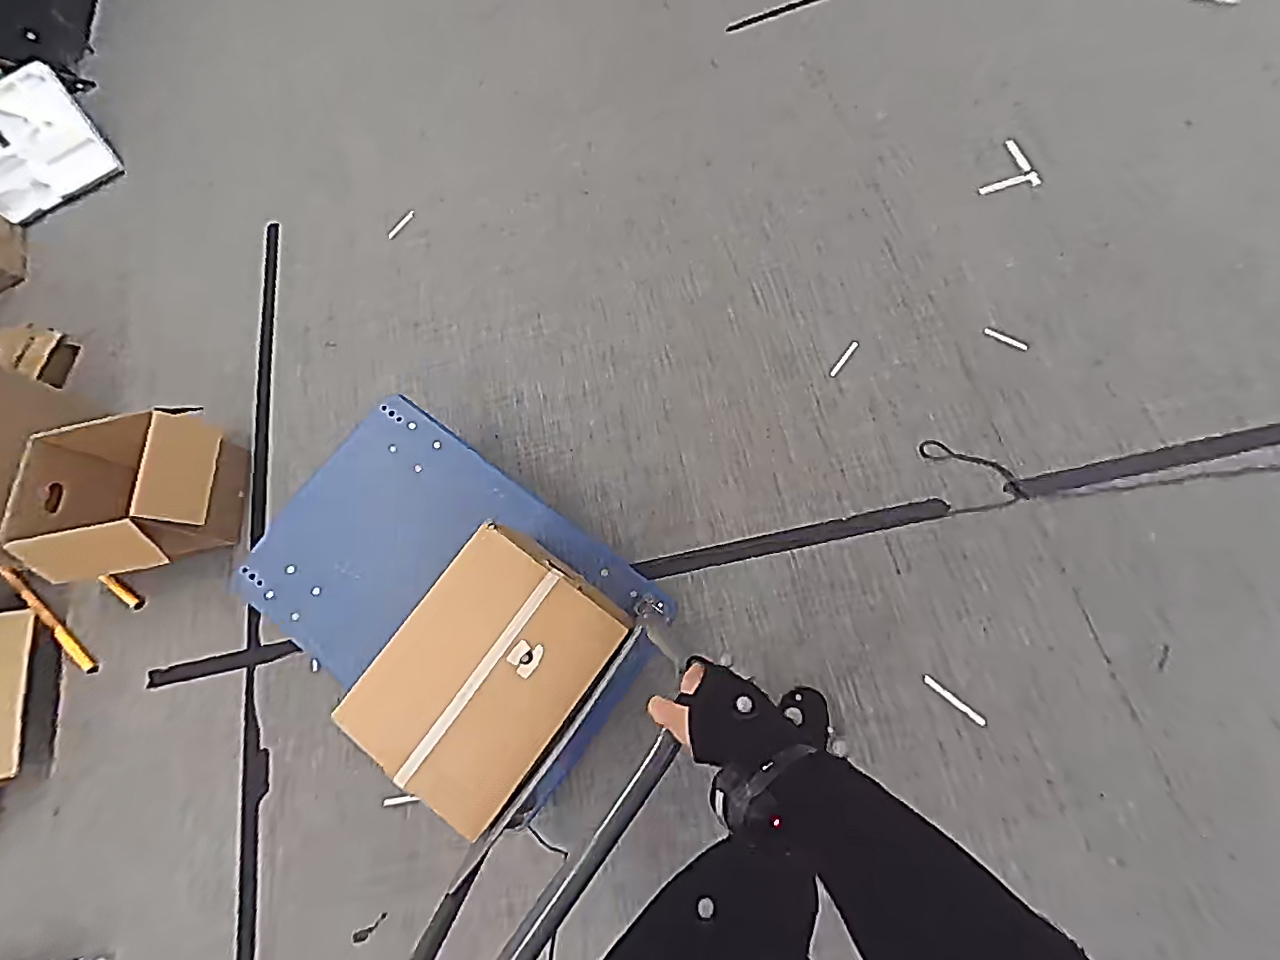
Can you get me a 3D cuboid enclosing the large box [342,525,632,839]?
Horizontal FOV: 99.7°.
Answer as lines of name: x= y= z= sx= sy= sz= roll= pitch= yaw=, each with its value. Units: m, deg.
large box: x=-0.253 y=0.355 z=1.039 sx=0.320 sy=0.320 sz=0.408 roll=35 pitch=80 yaw=8
